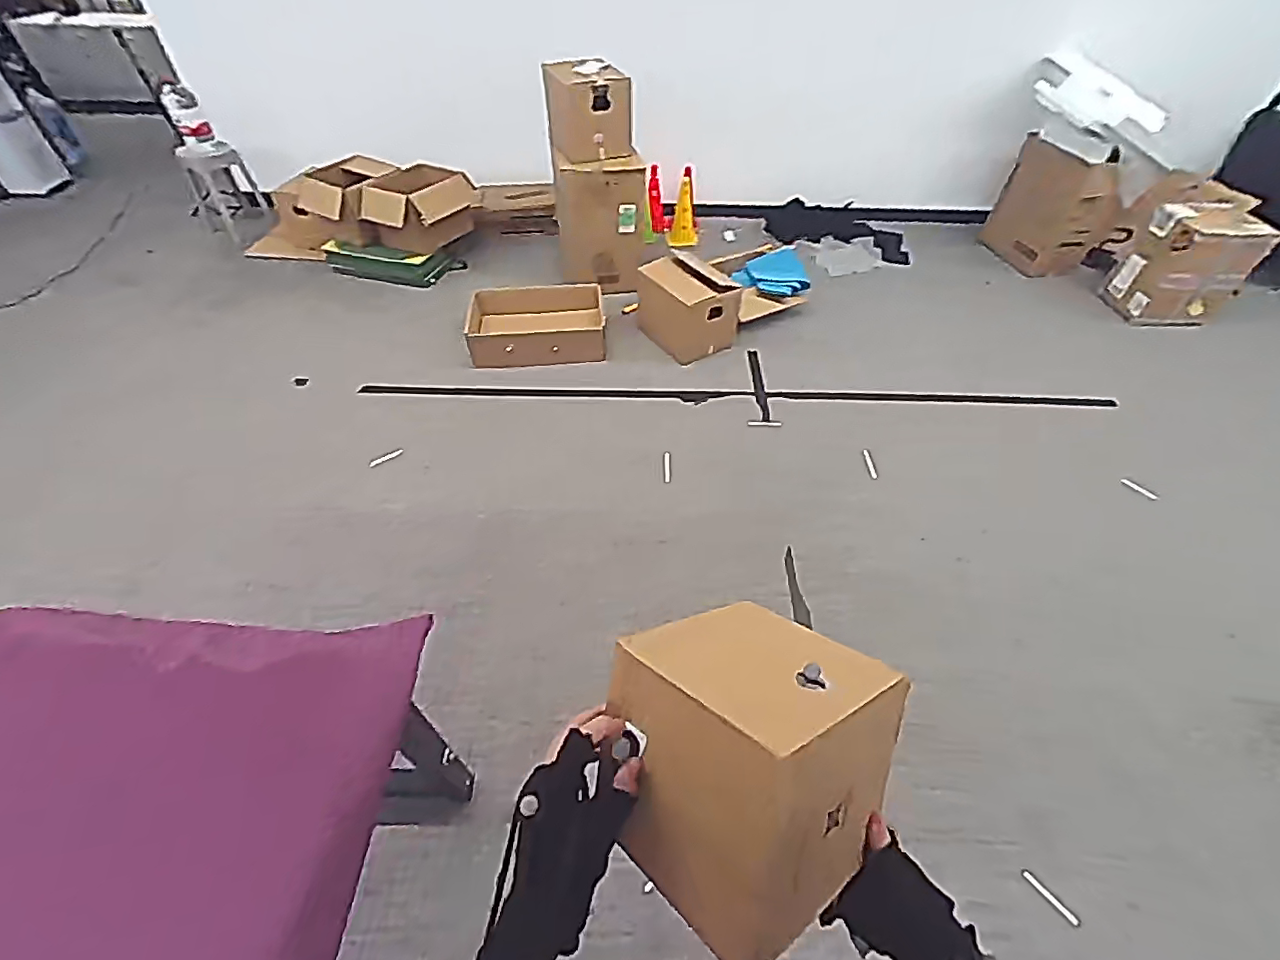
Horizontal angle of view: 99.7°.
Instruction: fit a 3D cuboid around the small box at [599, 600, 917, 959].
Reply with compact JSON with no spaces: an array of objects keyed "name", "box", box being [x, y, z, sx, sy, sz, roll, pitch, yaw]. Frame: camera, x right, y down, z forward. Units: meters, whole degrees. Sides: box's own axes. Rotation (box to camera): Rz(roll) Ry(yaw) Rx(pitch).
[{"name":"small box","box":[0.090,0.210,0.436,0.179,0.168,0.176,-3,11,-41]}]
